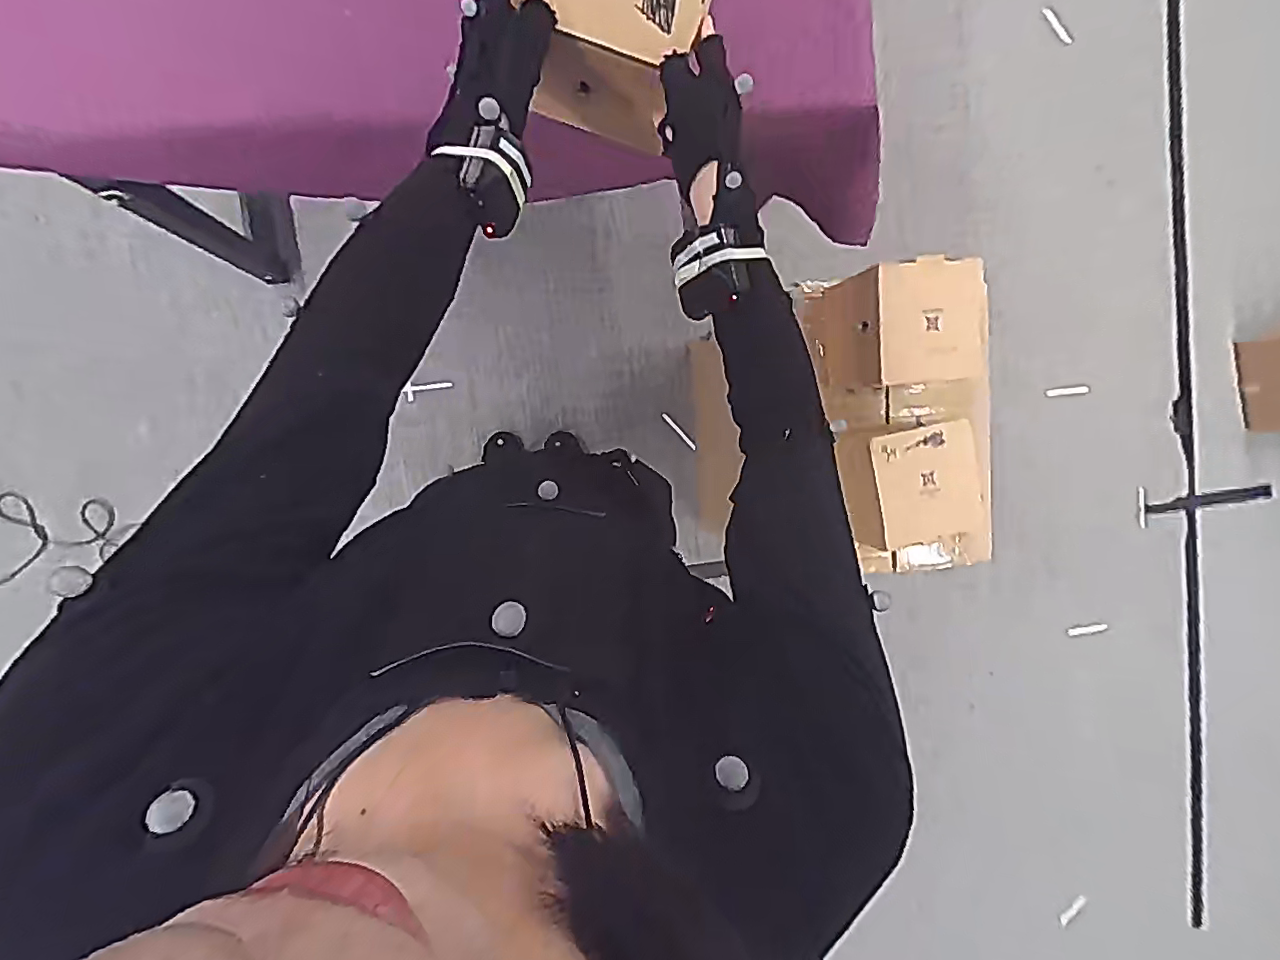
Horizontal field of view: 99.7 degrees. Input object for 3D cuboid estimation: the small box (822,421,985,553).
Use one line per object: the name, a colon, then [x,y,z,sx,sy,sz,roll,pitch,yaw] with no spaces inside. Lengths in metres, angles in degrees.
small box: [0.420,0.004,0.885,0.168,0.176,0.179,-12,95,-6]

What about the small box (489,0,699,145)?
small box: [-0.034,-0.478,0.550,0.179,0.176,0.168,15,96,-6]
